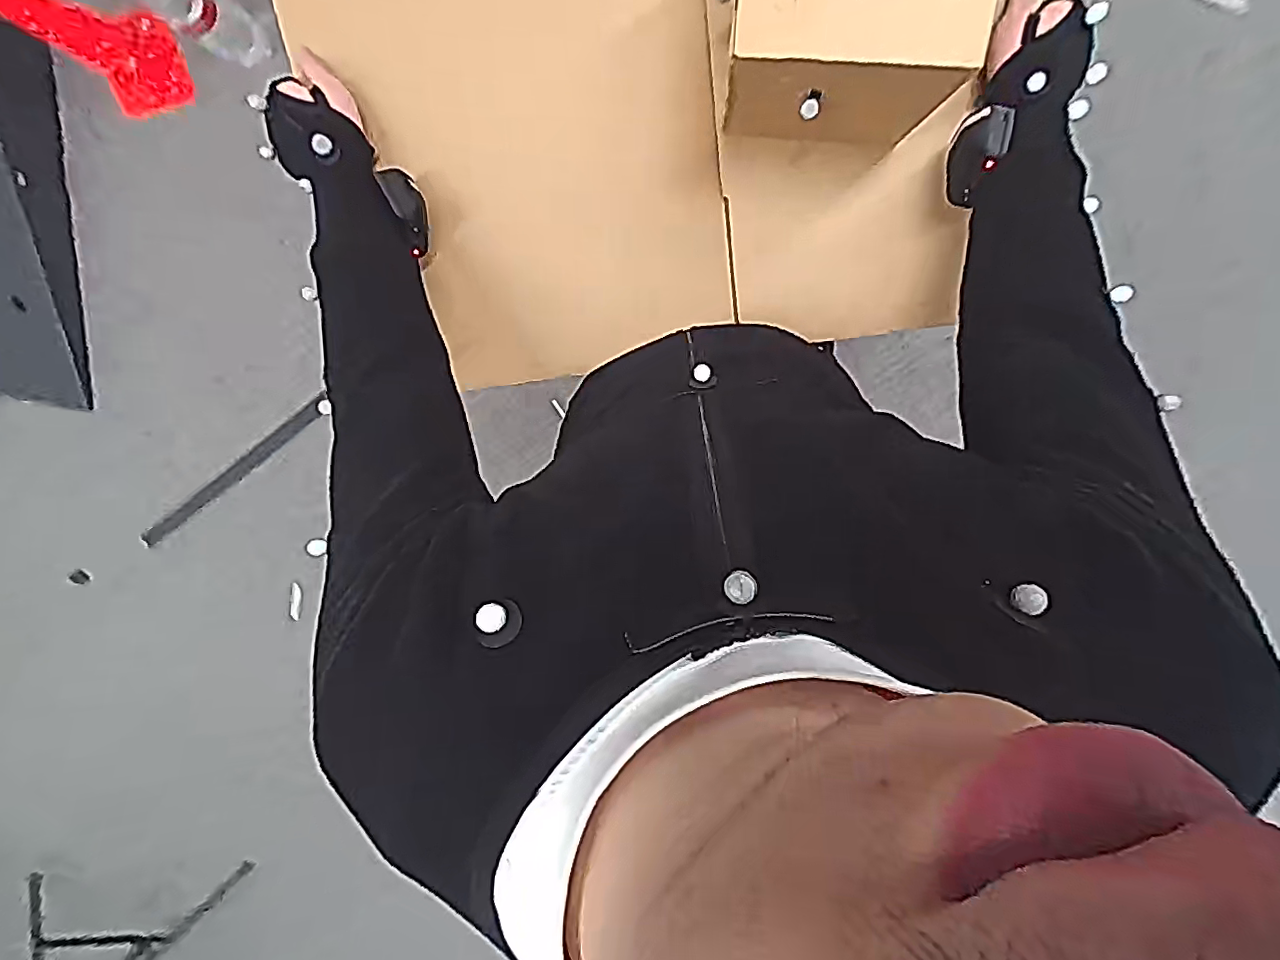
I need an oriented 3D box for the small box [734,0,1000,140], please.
[{"bbox_3d":[0.174,-0.398,0.441,0.179,0.176,0.168,7,107,5],"label":"small box"}]
